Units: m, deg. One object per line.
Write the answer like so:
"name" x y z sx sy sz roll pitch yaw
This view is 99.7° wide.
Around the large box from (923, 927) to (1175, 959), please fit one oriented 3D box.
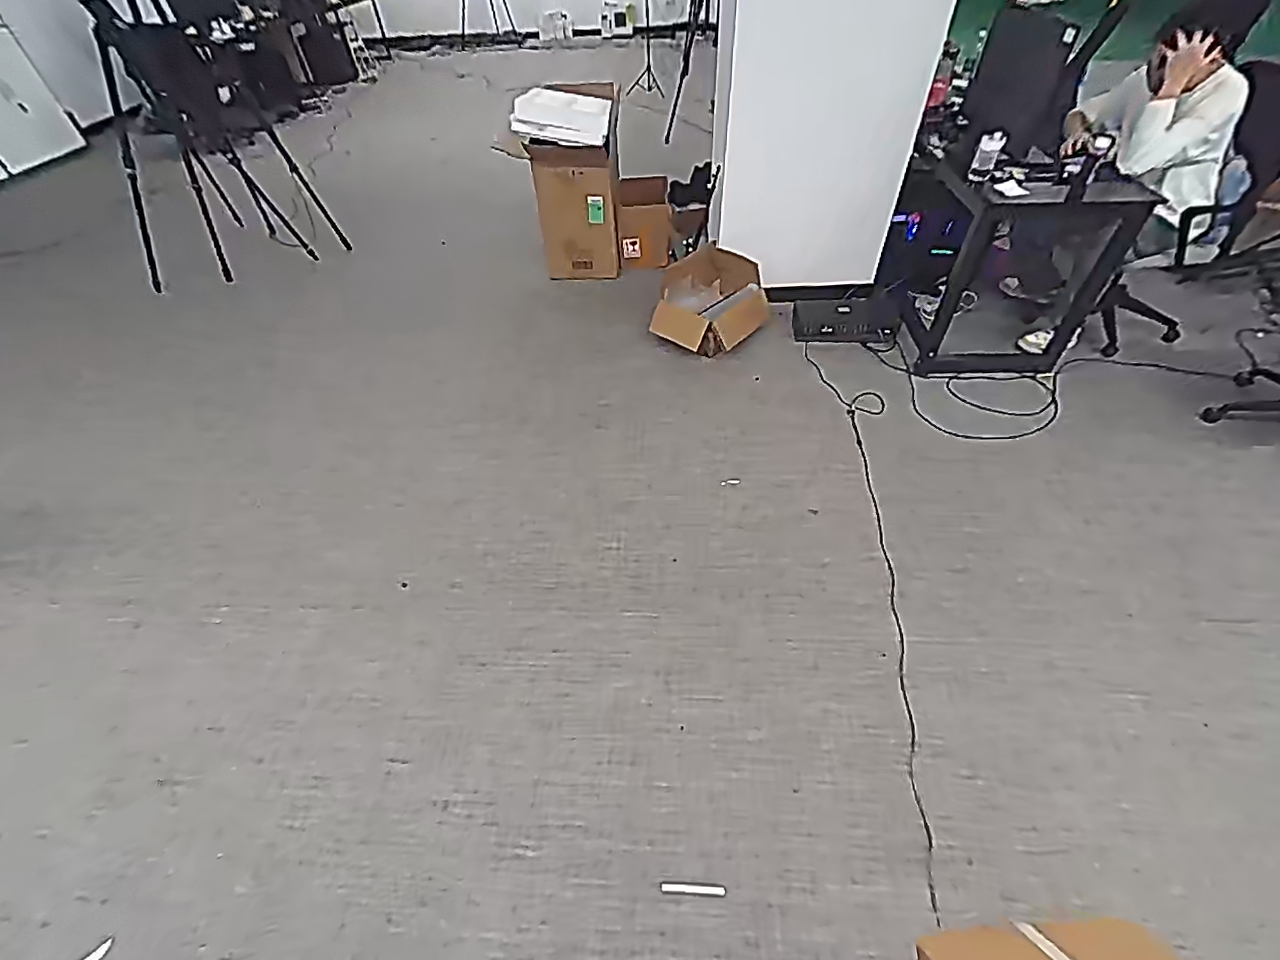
"large box" 0.568 0.767 0.564 0.320 0.408 0.320 -5 78 0
